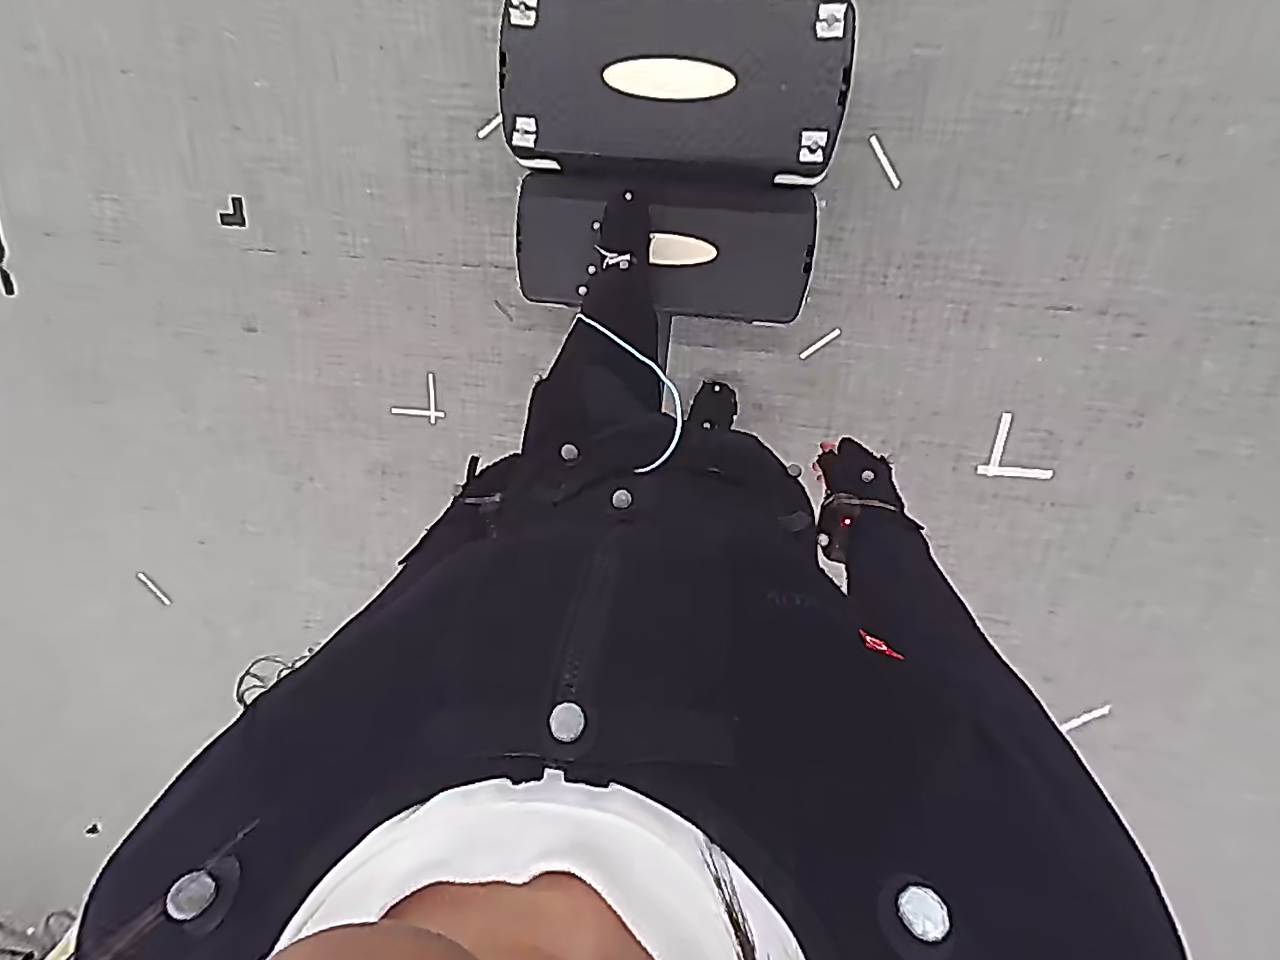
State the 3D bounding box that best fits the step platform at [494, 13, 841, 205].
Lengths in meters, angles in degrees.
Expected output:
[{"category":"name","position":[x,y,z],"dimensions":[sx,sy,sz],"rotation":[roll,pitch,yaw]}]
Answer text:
[{"category":"step platform","position":[0.049,-0.755,1.120],"dimensions":[0.684,0.204,0.286],"rotation":[5,109,5]}]
